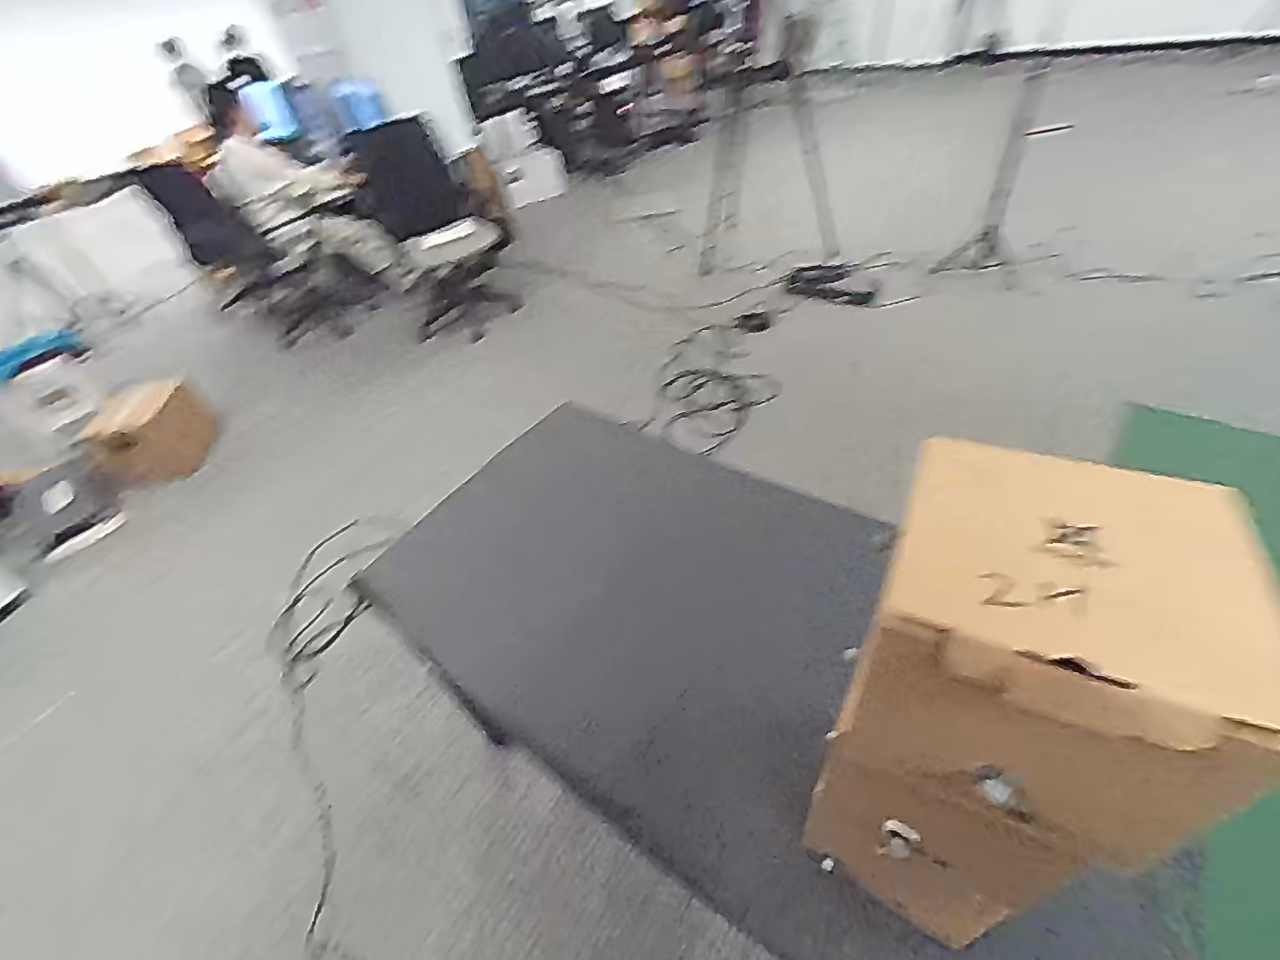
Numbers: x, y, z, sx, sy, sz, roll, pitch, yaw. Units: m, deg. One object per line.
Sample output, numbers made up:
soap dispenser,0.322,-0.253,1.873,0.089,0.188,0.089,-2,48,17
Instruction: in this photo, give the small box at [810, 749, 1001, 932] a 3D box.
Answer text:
small box,0.294,0.330,0.580,0.168,0.176,0.179,22,49,30

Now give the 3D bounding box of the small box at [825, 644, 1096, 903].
small box,0.271,0.212,0.470,0.168,0.176,0.179,18,49,29

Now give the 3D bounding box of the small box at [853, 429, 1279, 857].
small box,0.249,0.096,0.355,0.168,0.176,0.179,15,46,27
